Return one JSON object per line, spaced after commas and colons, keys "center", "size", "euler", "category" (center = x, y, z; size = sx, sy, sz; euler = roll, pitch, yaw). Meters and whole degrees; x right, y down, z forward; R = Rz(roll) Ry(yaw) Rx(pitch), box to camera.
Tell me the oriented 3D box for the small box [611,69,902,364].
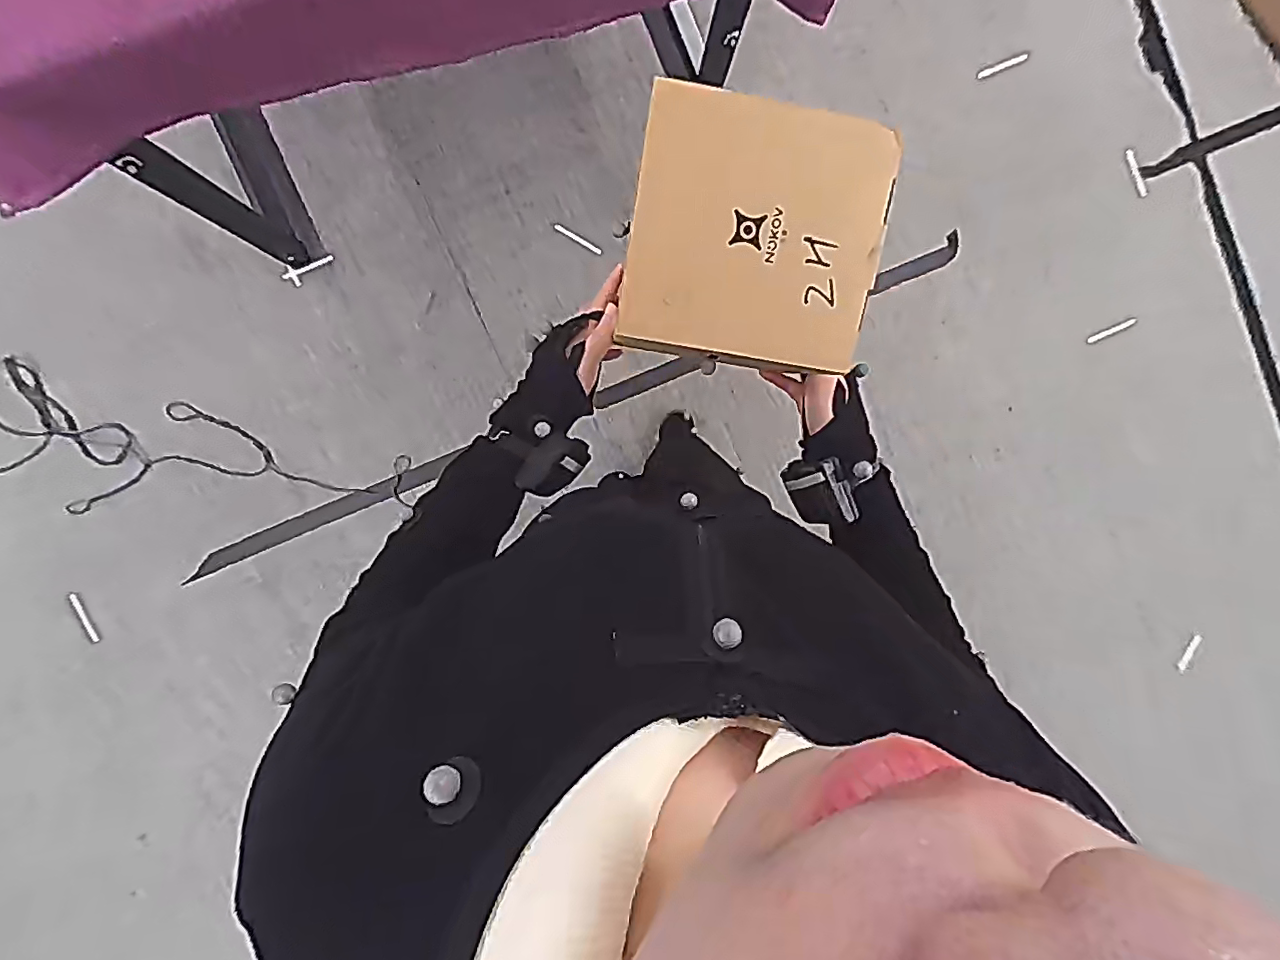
{"center": [0.074, -0.191, 0.448], "size": [0.179, 0.176, 0.168], "euler": [8, 102, -5], "category": "small box"}
